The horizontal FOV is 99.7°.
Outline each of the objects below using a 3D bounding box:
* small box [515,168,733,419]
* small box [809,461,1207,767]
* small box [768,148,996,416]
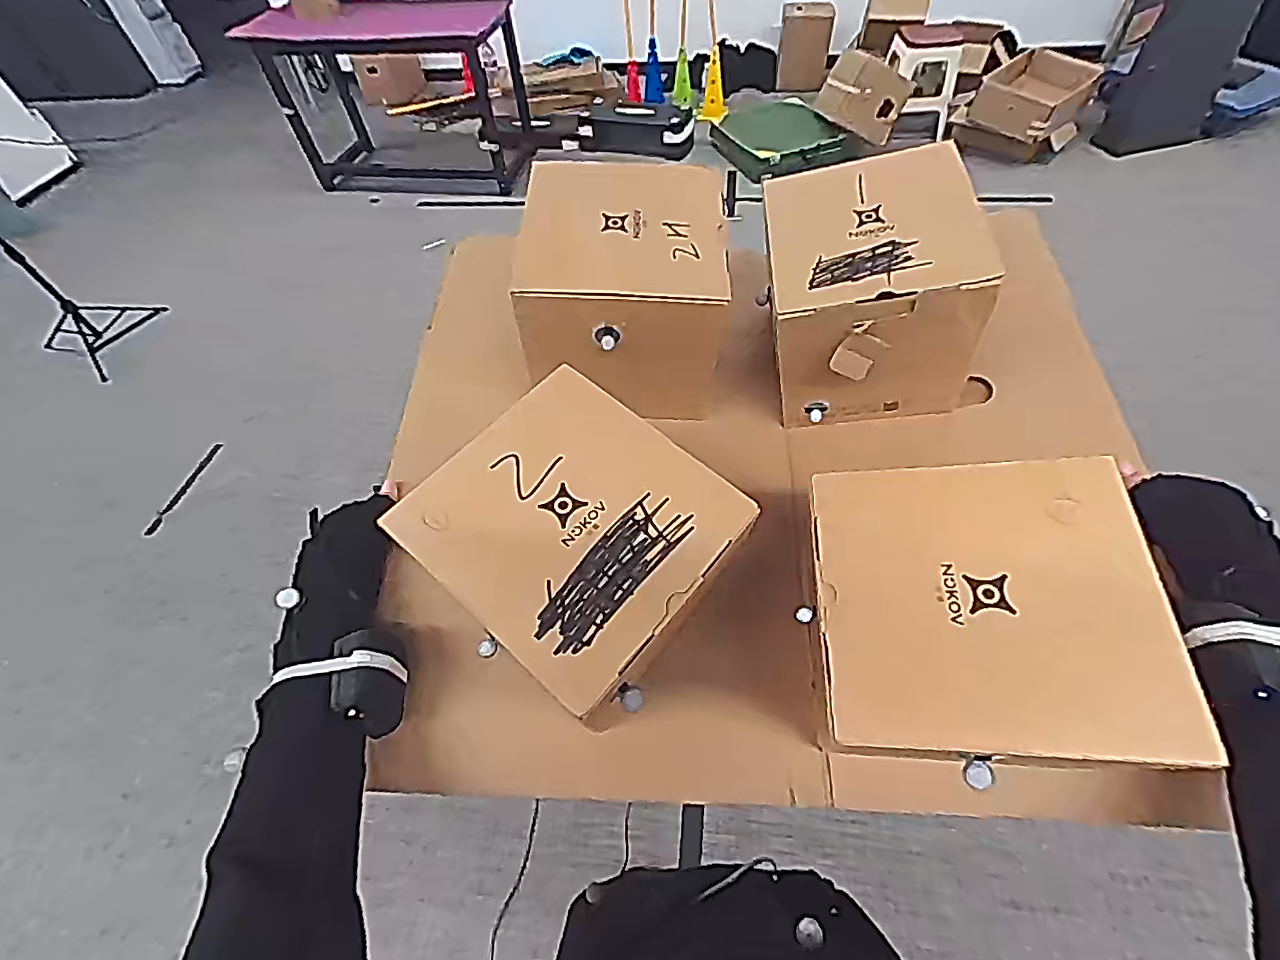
[{"bbox_3d":[-0.011,-0.174,0.532,0.179,0.176,0.168,3,63,-1],"label":"small box"},{"bbox_3d":[0.214,0.101,0.381,0.179,0.176,0.168,-4,62,17],"label":"small box"},{"bbox_3d":[0.214,-0.175,0.524,0.168,0.176,0.179,-3,60,15],"label":"small box"}]
